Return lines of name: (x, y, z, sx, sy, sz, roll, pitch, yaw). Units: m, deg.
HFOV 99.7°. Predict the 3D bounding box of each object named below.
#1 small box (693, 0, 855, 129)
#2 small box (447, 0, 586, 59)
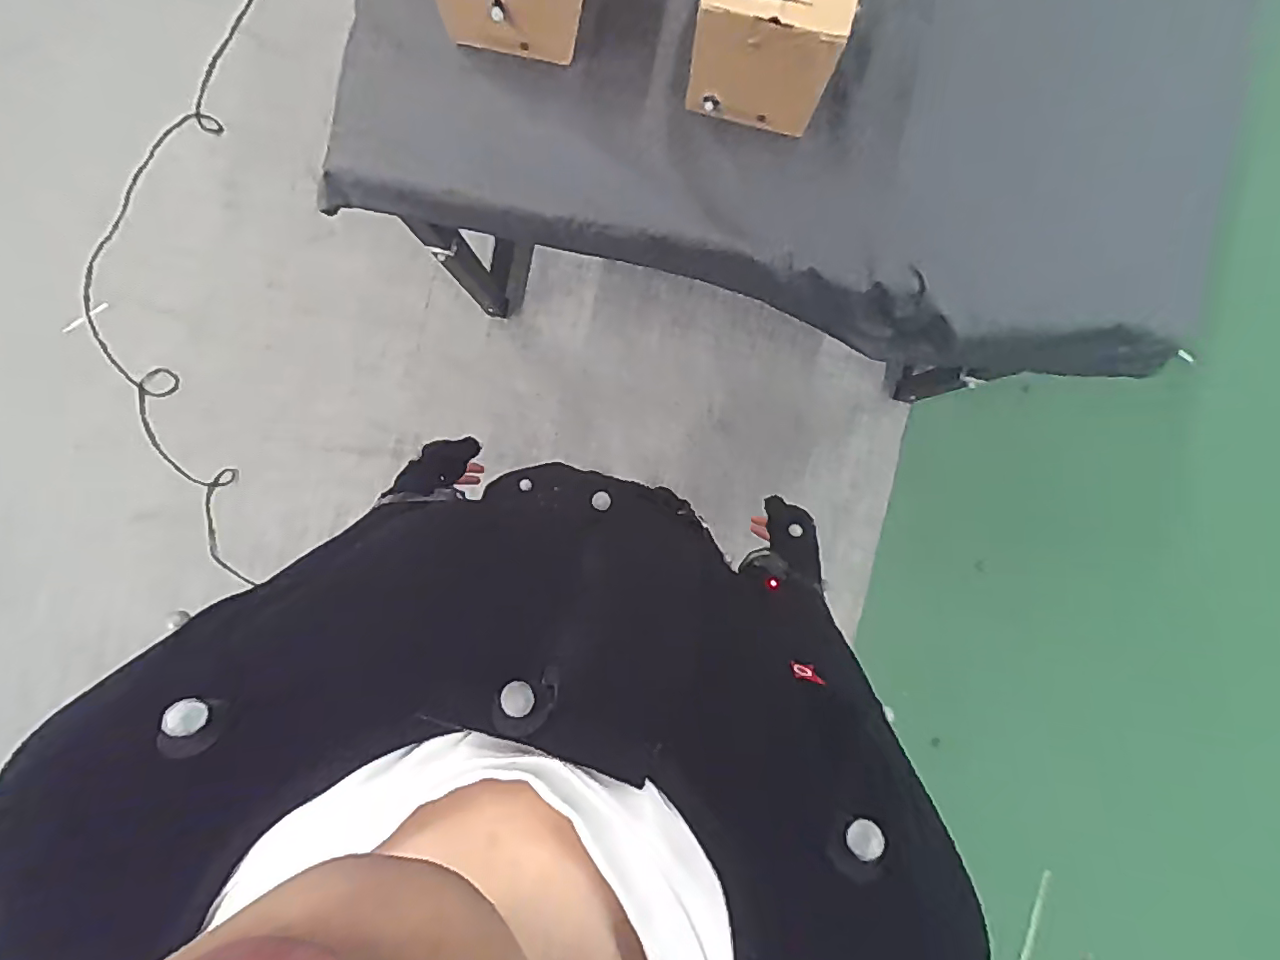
small box: (0.165, -0.576, 0.662, 0.168, 0.176, 0.179, 14, 89, 0)
small box: (-0.153, -0.669, 0.662, 0.168, 0.176, 0.179, 11, 91, 0)
